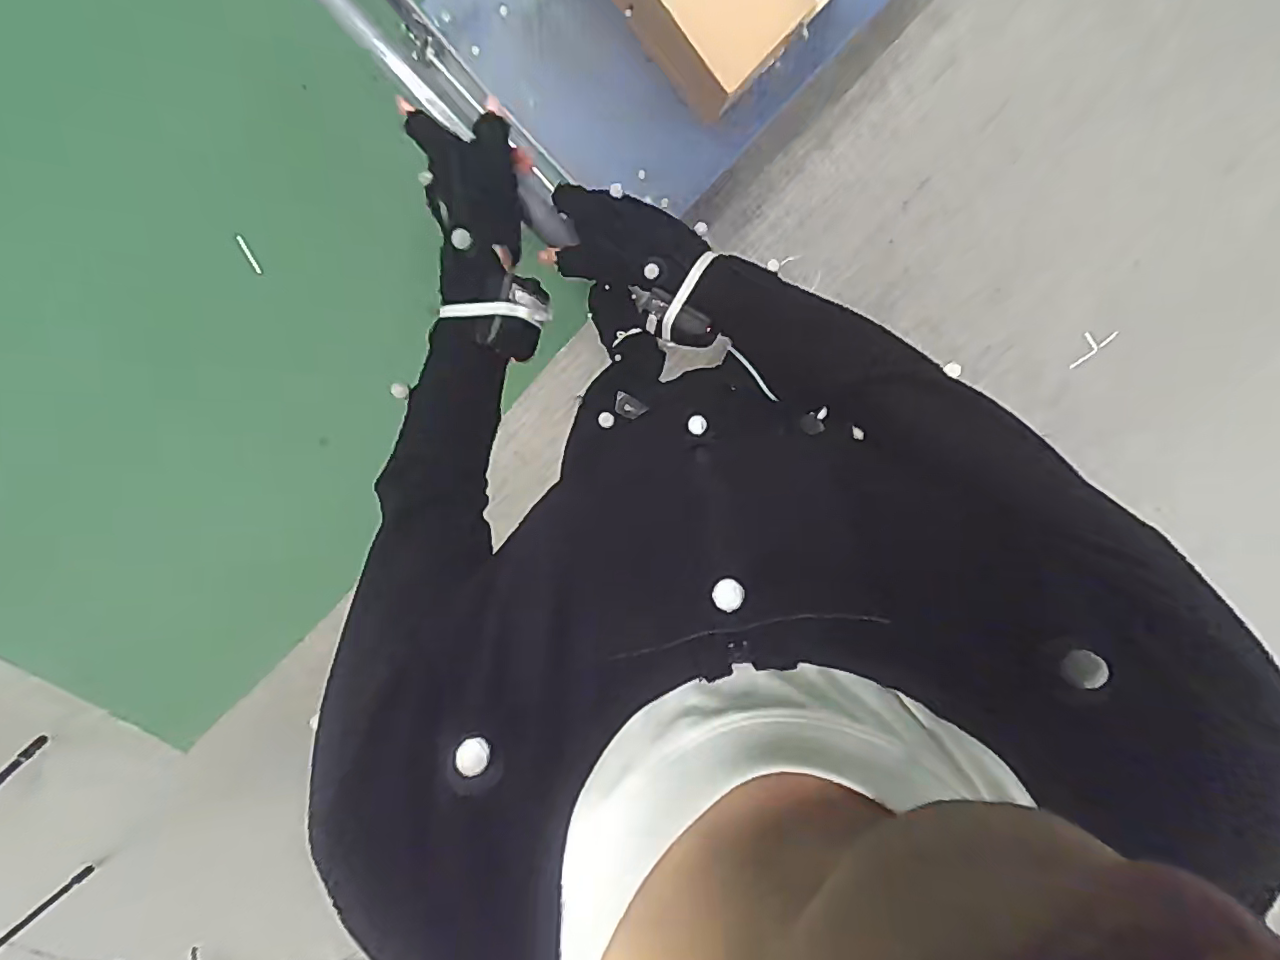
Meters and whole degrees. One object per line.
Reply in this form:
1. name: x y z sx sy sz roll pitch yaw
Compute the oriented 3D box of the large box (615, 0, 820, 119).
1. large box: 0.098 -0.845 0.798 0.320 0.320 0.408 -40 108 17
